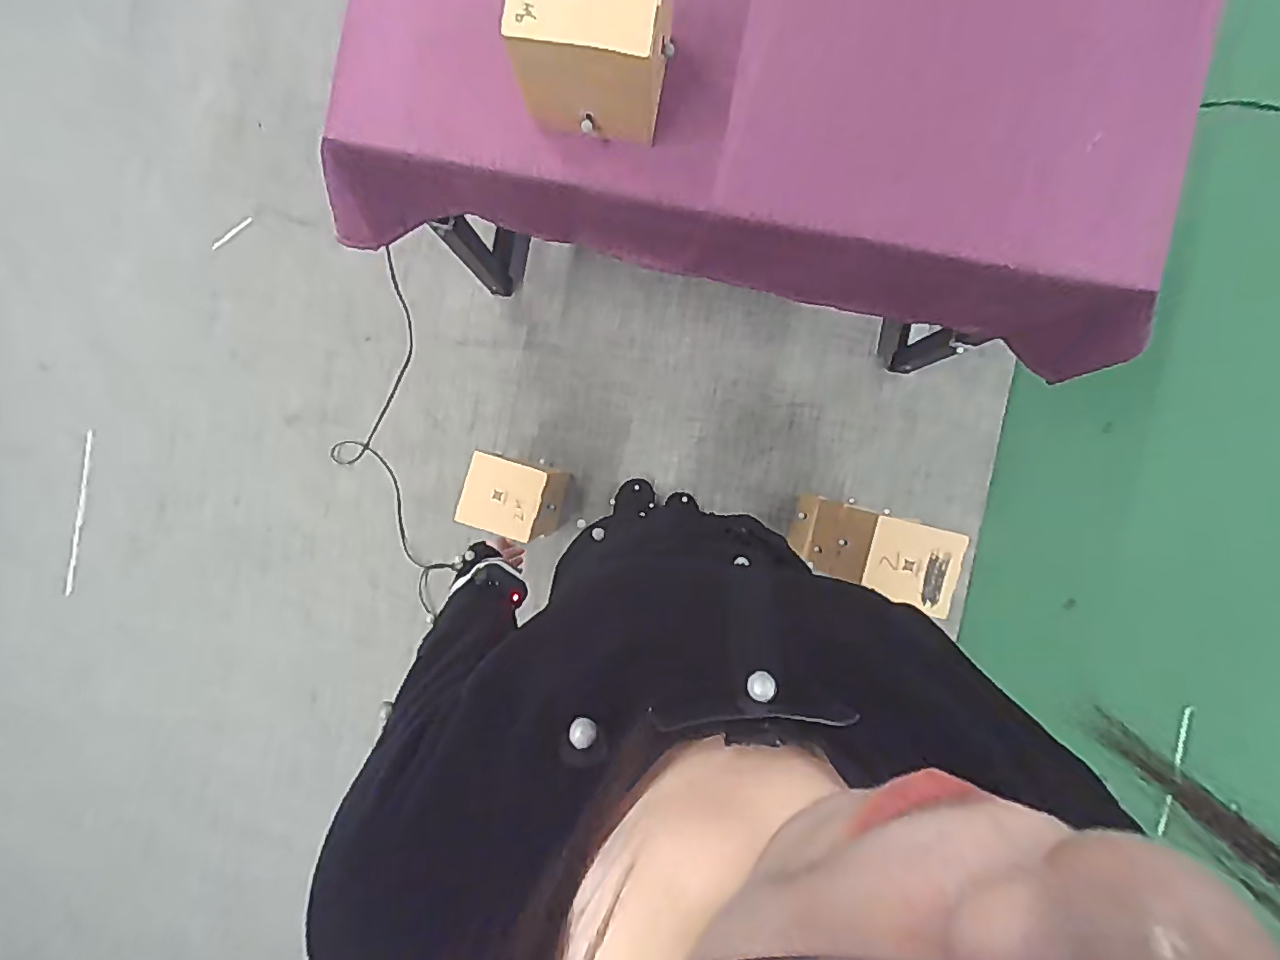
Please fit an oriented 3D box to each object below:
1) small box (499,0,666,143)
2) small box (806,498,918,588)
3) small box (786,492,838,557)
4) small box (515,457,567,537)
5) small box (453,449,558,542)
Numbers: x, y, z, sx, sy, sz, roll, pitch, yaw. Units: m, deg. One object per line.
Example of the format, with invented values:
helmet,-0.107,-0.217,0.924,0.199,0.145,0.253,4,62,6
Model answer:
small box,-0.063,-0.568,0.691,0.179,0.176,0.168,10,91,0
small box,0.507,0.139,1.263,0.179,0.176,0.168,12,92,0
small box,0.502,0.132,1.426,0.179,0.176,0.168,15,91,0
small box,-0.300,0.040,1.438,0.168,0.176,0.179,14,91,0
small box,-0.308,0.034,1.273,0.179,0.176,0.168,17,92,0
